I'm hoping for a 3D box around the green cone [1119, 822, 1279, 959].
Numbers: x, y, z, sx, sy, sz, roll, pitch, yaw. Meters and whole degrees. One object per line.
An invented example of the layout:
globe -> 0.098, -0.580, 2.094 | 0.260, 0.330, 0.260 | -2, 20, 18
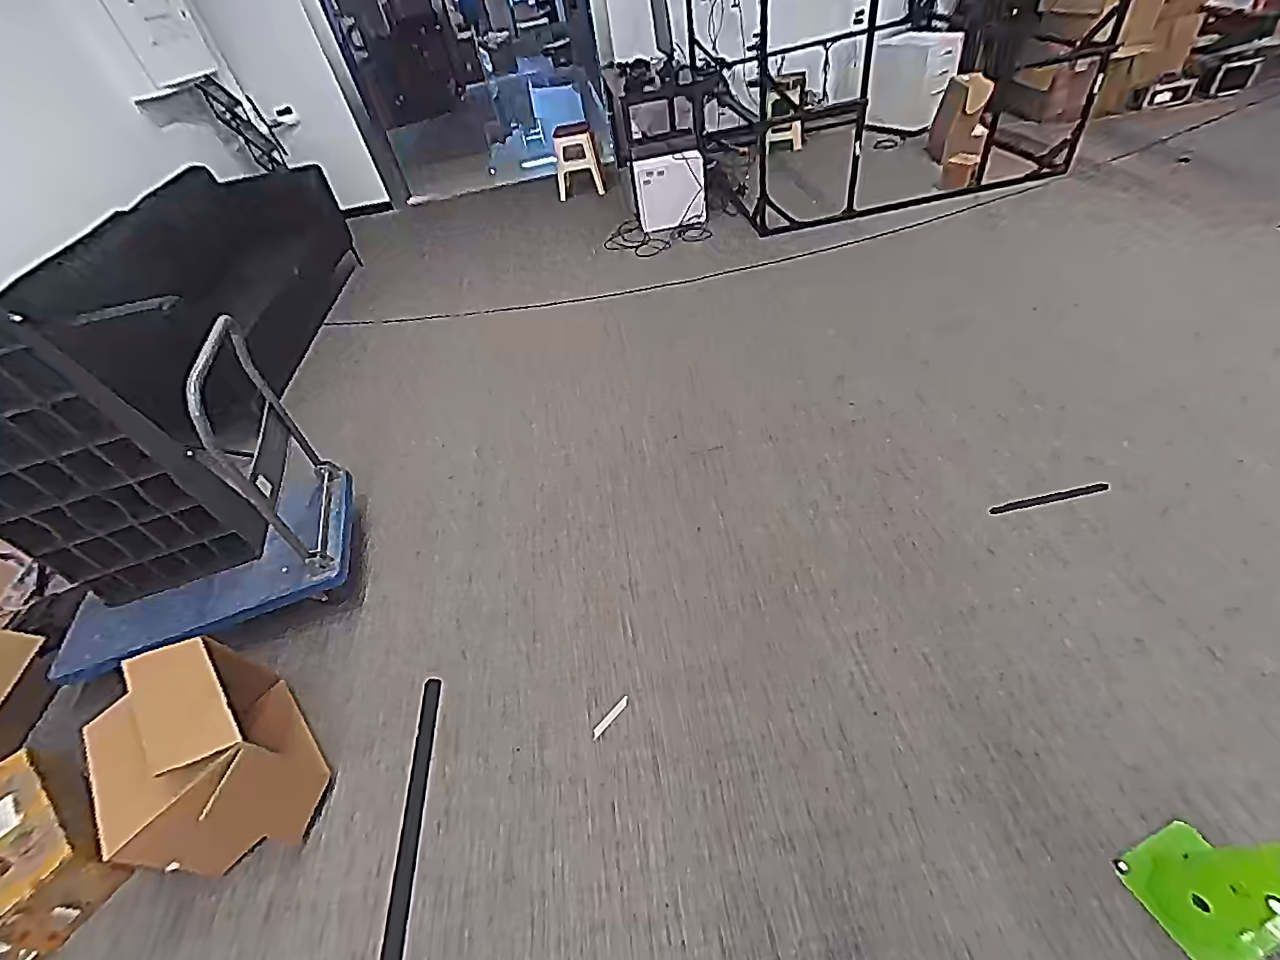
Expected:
green cone -> 1.051, 0.675, 0.912 | 0.202, 0.368, 0.200 | -22, 45, -11
